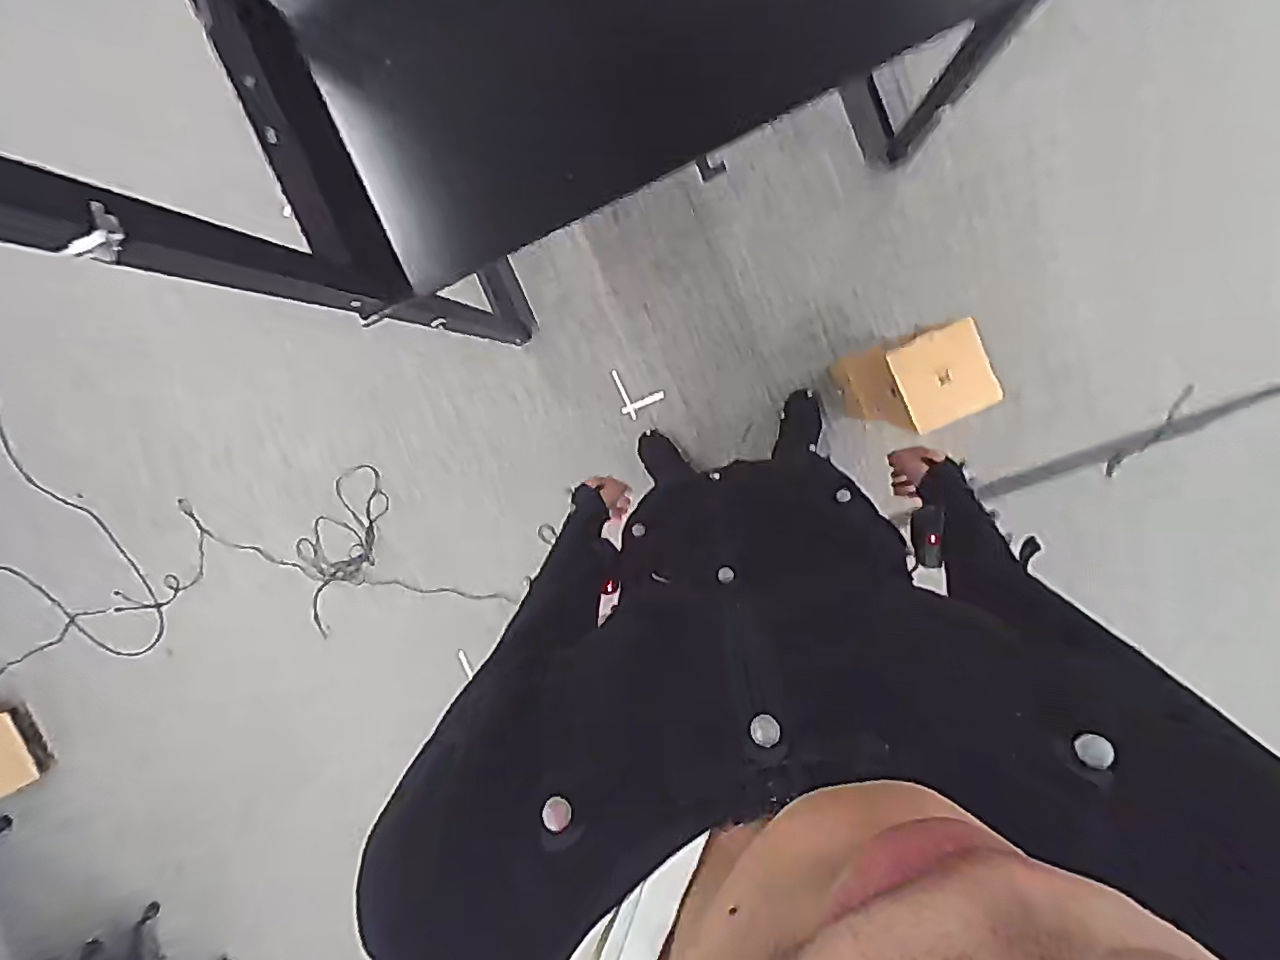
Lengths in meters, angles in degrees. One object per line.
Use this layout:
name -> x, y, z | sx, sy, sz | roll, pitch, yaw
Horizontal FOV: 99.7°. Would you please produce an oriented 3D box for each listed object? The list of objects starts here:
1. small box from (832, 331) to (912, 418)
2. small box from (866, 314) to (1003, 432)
small box -> 0.634, -0.278, 1.431 | 0.179, 0.176, 0.168 | -24, 95, 12
small box -> 0.594, -0.218, 1.112 | 0.168, 0.176, 0.179 | -26, 95, 12
